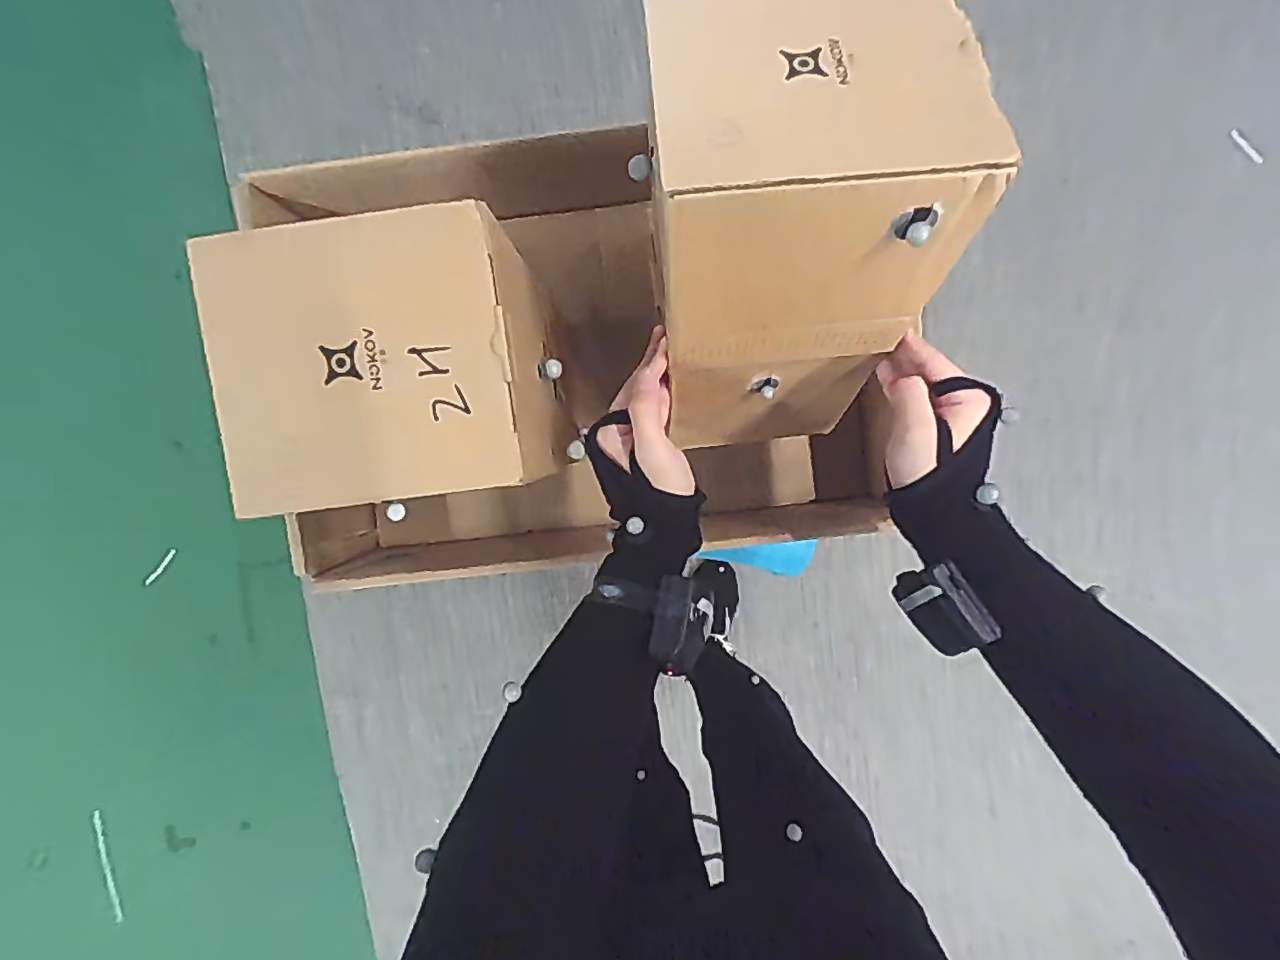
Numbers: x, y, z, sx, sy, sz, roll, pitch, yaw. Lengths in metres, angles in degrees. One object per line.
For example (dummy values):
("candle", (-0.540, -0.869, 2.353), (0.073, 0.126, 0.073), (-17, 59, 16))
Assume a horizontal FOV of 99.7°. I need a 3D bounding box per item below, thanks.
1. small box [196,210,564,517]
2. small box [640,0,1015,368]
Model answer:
("small box", (-0.162, -0.070, 0.396), (0.179, 0.176, 0.168), (-7, 94, 1))
("small box", (0.095, -0.190, 0.365), (0.179, 0.176, 0.168), (-4, 70, 1))
